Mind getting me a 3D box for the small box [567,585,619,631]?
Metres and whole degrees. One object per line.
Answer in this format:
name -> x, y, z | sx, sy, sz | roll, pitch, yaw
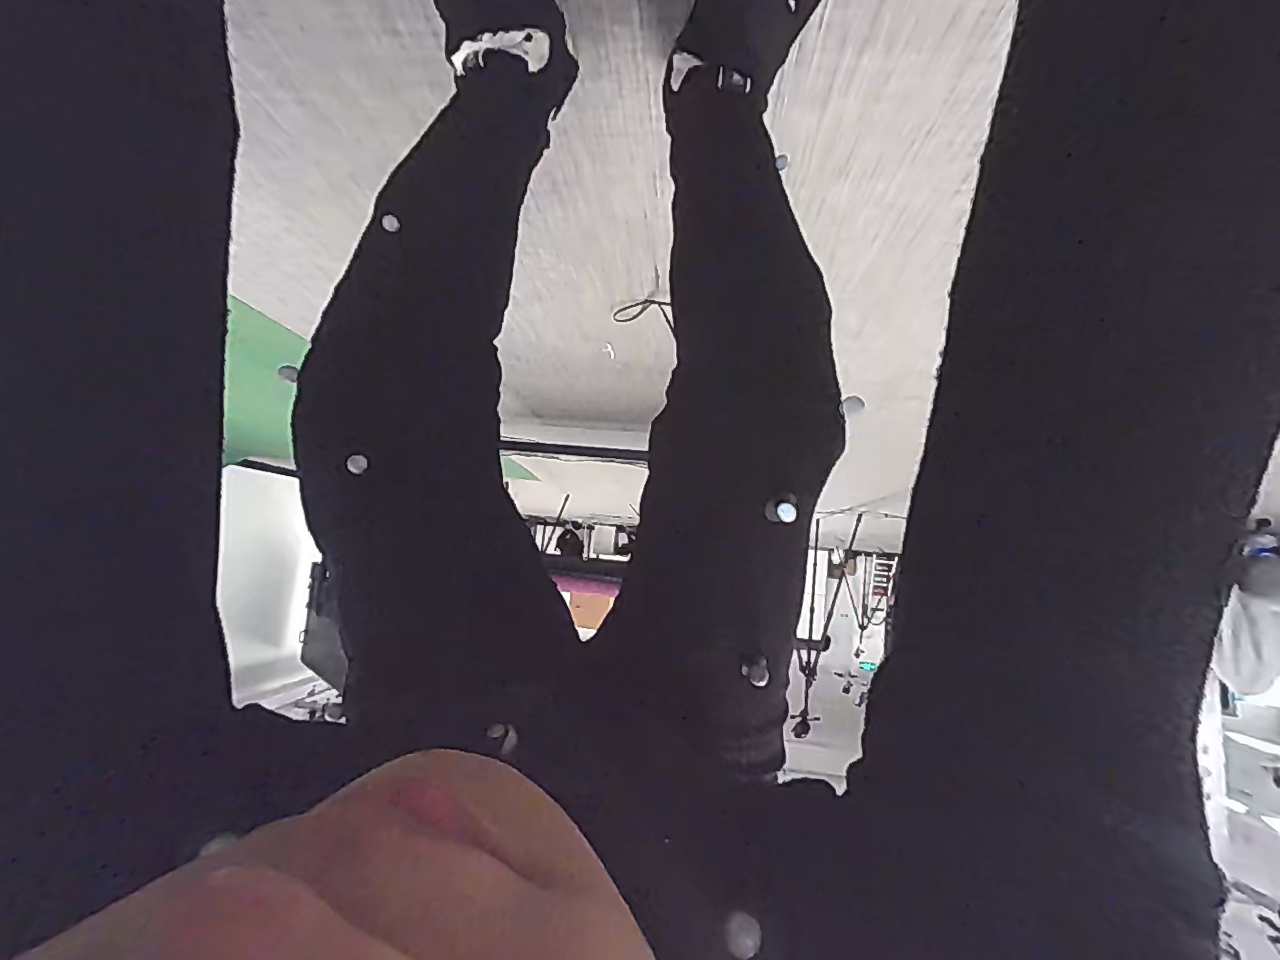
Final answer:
small box -> -0.196, 0.539, 2.290 | 0.179, 0.176, 0.168 | 4, 172, 8
